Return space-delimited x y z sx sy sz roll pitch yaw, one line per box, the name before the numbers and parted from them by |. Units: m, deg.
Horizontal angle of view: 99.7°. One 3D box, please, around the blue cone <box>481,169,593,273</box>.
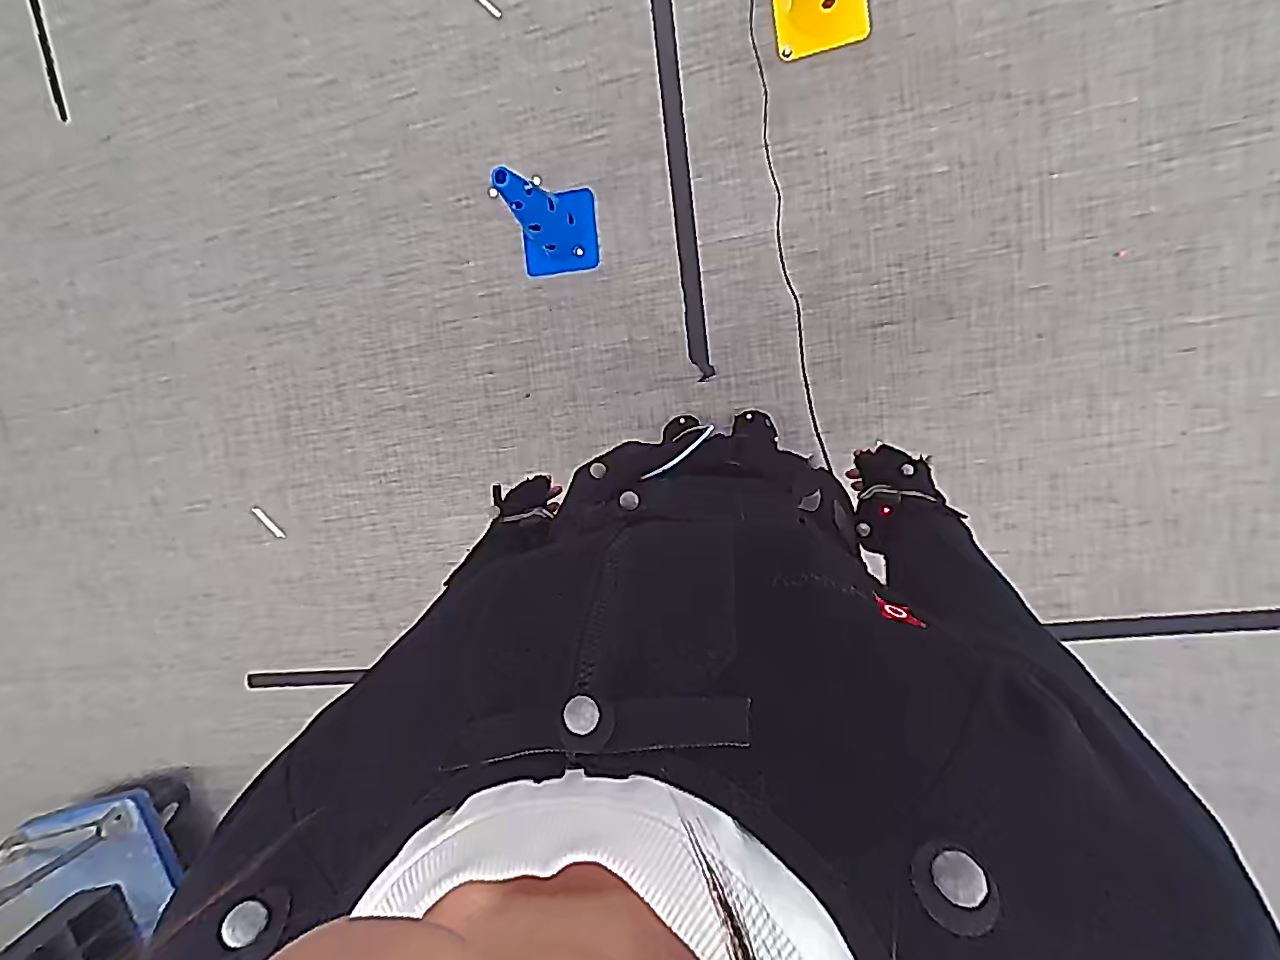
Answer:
blue cone | -0.250 -0.623 1.244 0.192 0.380 0.193 -2 97 12
